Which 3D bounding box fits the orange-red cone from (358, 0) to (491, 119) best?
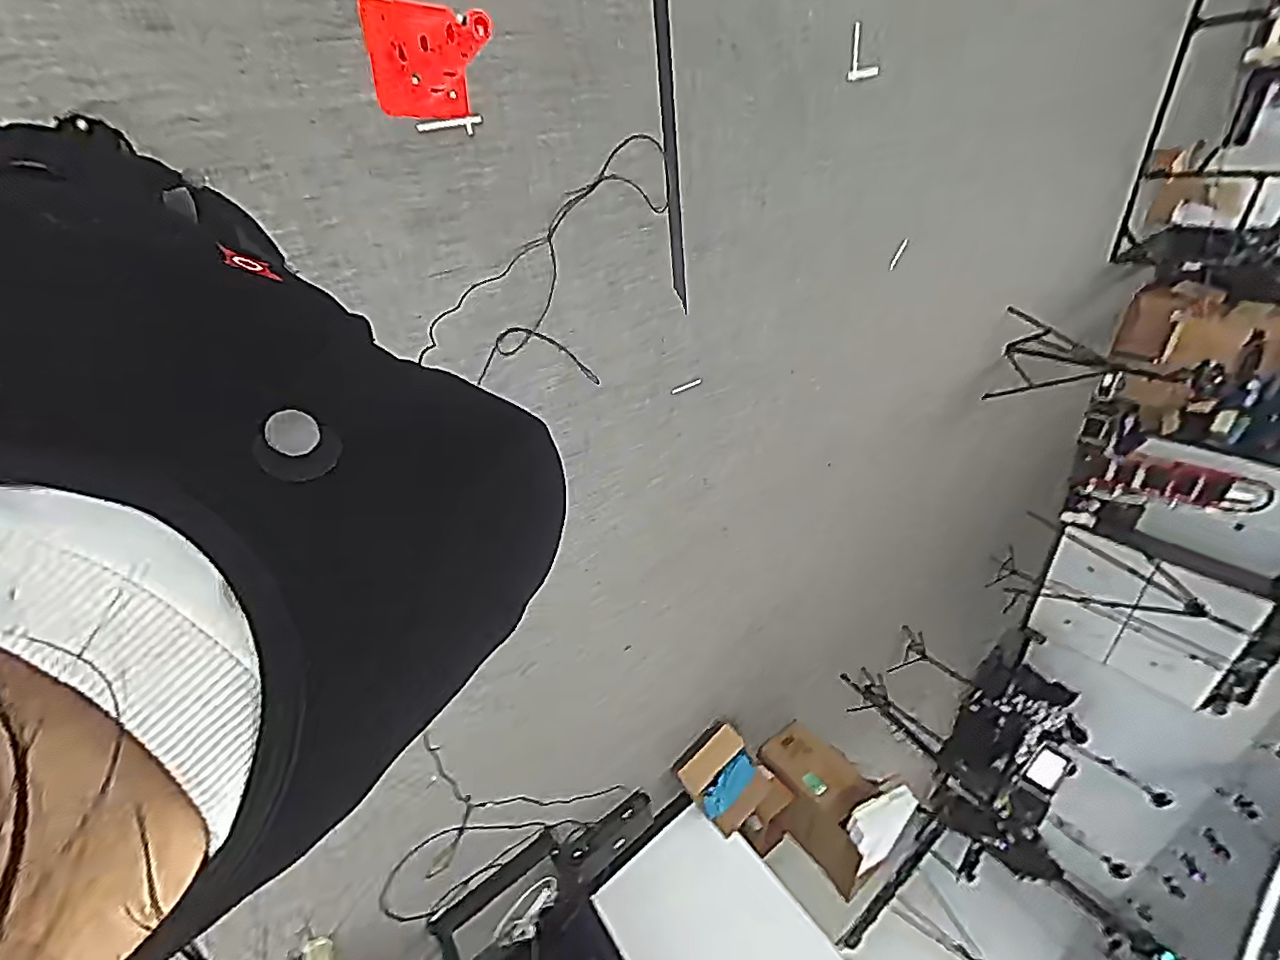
[{"bbox_3d":[-0.371,-0.826,1.020,0.198,0.360,0.199,-21,123,-32],"label":"orange-red cone"}]
